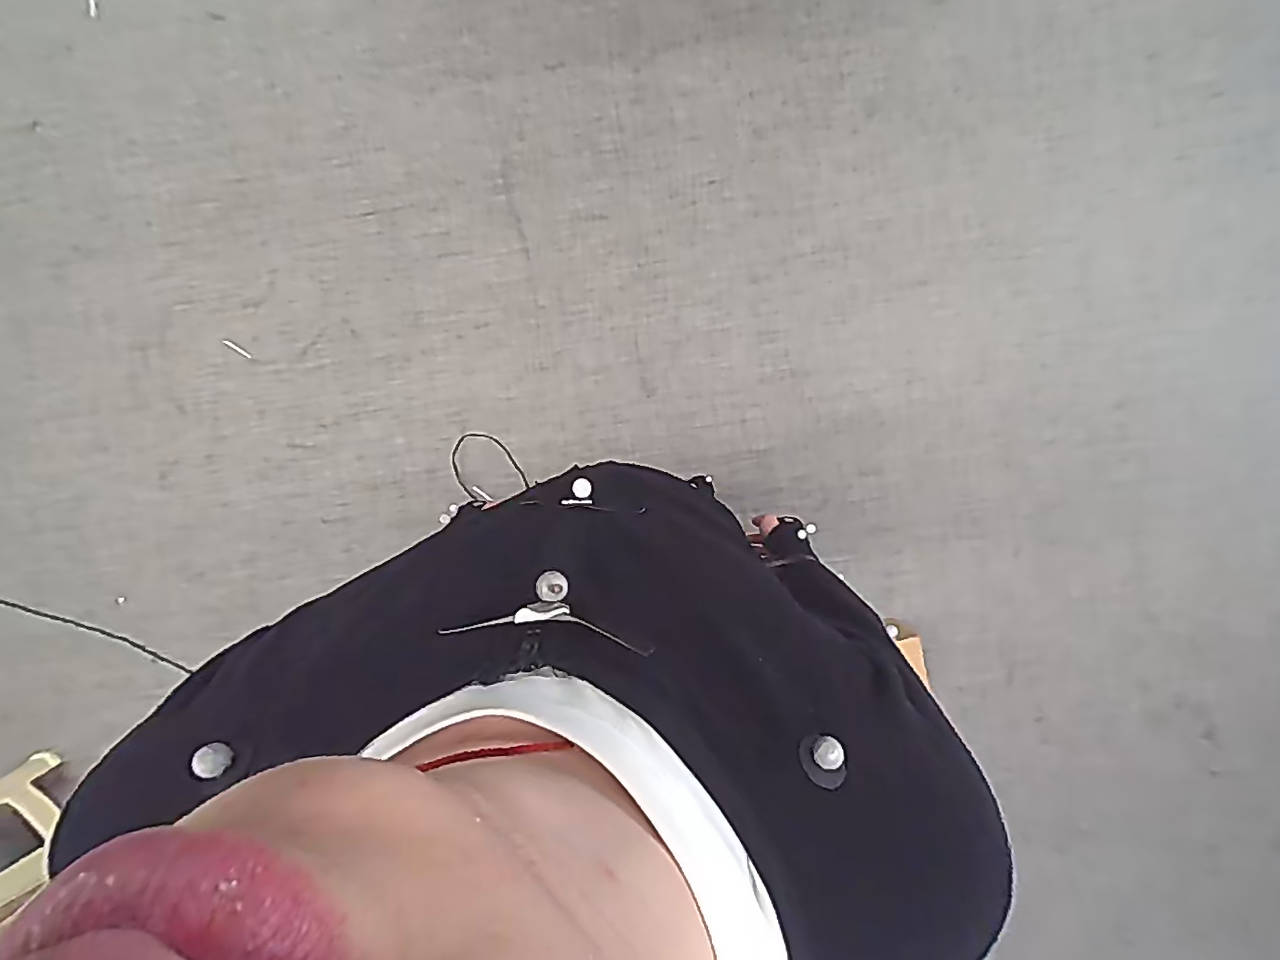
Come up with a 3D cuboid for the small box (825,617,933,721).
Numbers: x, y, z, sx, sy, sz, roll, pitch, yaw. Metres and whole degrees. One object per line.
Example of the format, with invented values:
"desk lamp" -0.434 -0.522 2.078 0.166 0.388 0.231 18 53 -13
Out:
"small box" 0.639 0.504 1.470 0.179 0.176 0.168 -41 92 2
